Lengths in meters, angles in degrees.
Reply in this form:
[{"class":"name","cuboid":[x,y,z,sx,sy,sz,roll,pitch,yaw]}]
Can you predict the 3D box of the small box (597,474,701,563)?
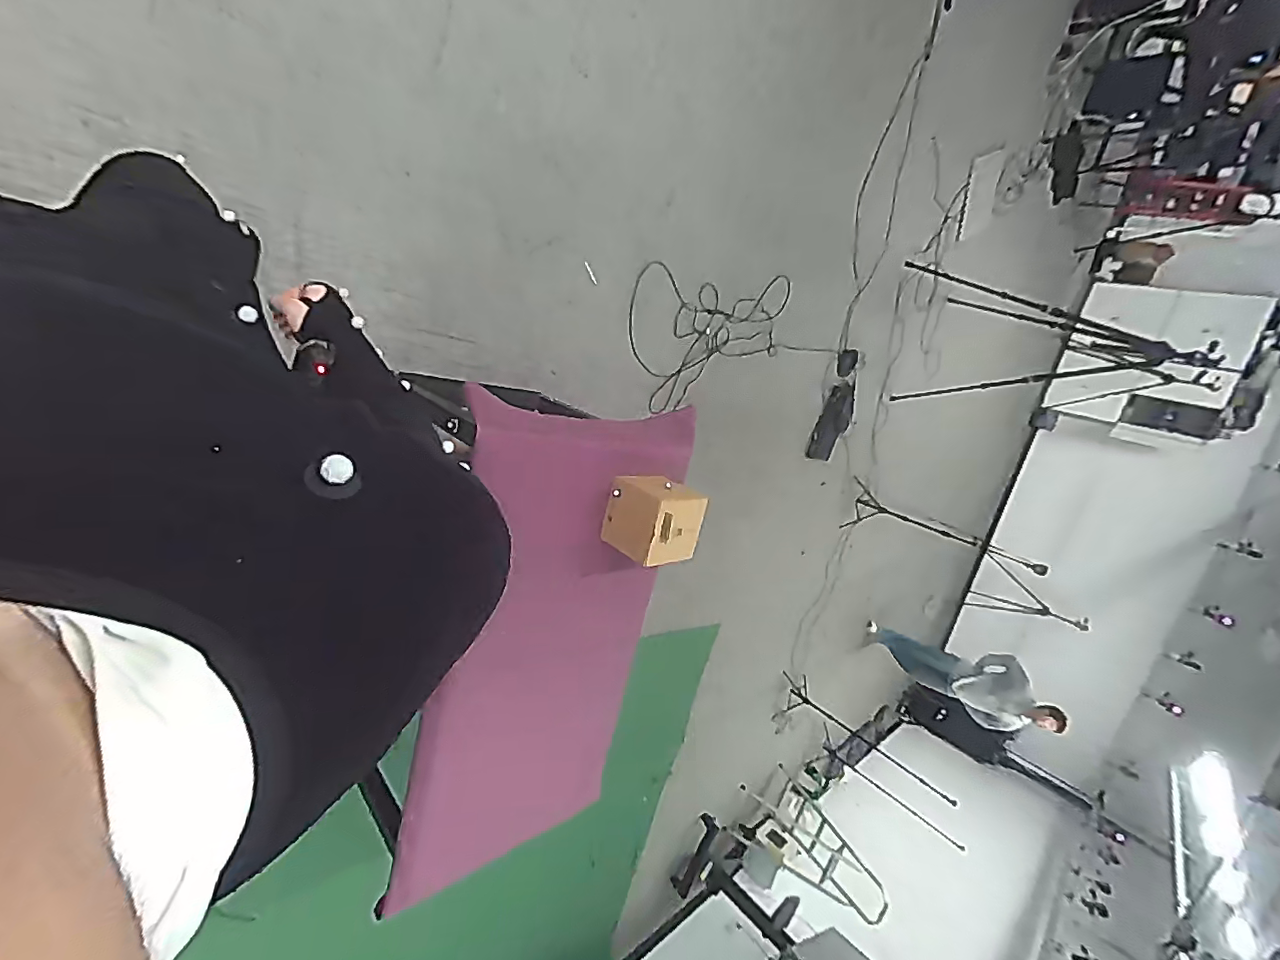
[{"class":"small box","cuboid":[0.018,0.088,1.336,0.179,0.176,0.168,-1,111,-47]}]
